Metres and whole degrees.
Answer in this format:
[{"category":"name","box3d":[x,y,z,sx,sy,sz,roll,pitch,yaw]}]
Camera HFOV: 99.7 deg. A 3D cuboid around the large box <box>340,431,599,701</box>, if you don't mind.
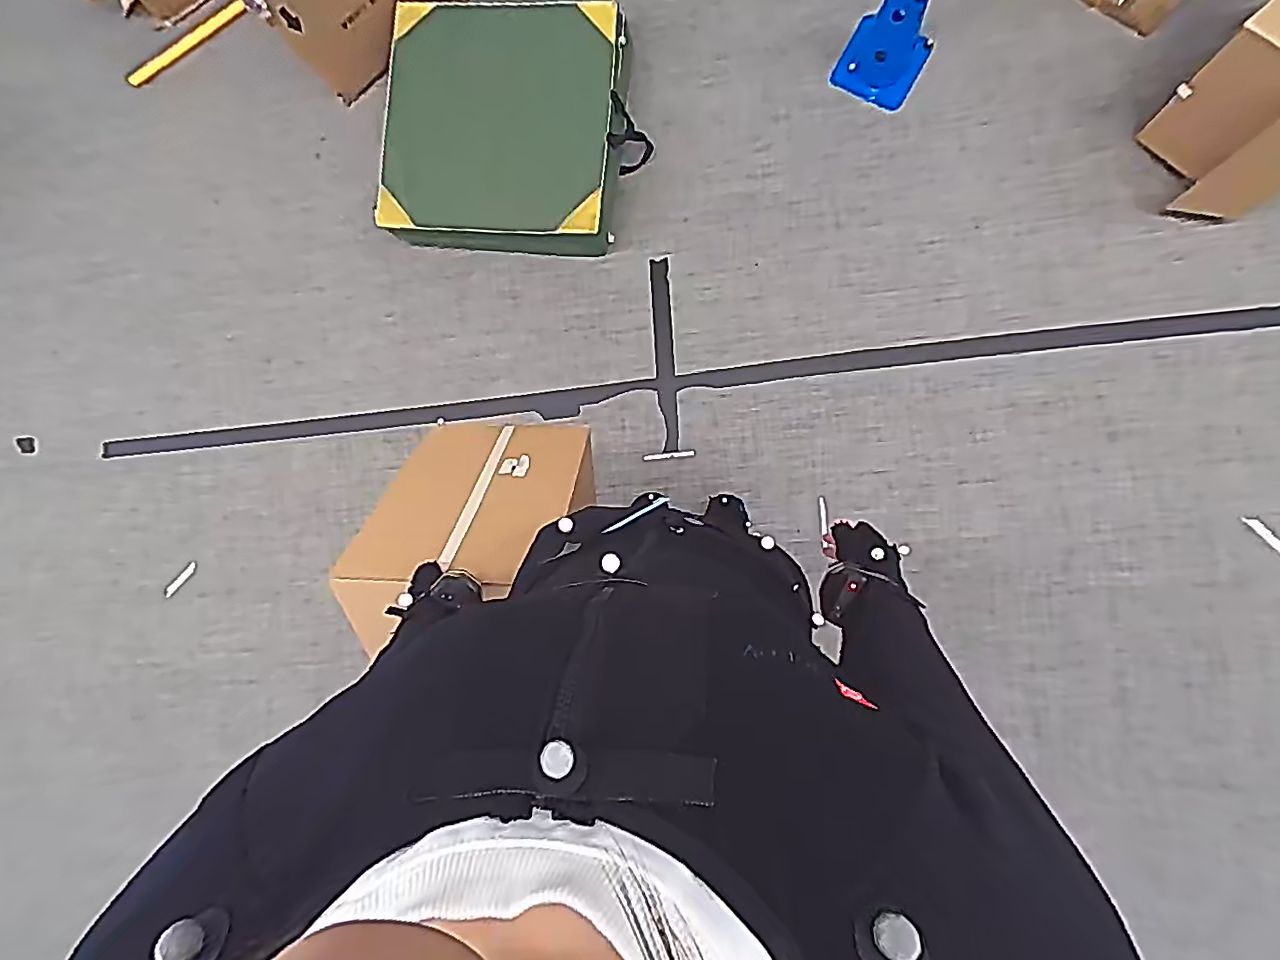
[{"category":"large box","box3d":[-0.264,0.147,1.006,0.320,0.408,0.320,2,127,5]}]
